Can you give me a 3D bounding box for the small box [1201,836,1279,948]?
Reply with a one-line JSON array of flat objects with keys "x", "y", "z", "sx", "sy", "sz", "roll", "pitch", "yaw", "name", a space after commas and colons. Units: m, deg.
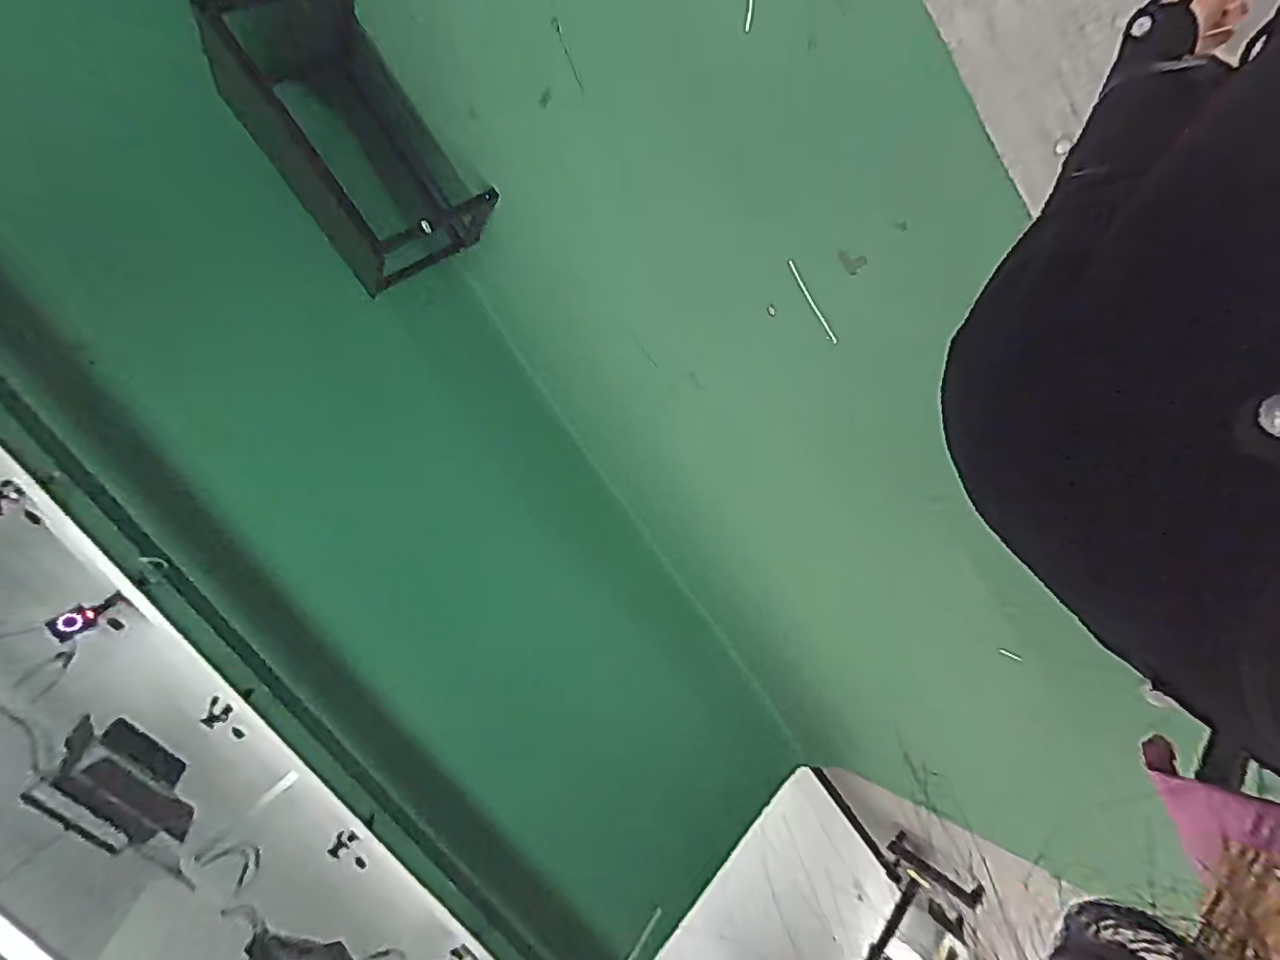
[{"x": 1.094, "y": 0.735, "z": 0.887, "sx": 0.168, "sy": 0.176, "sz": 0.179, "roll": 53, "pitch": 156, "yaw": -8, "name": "small box"}]
